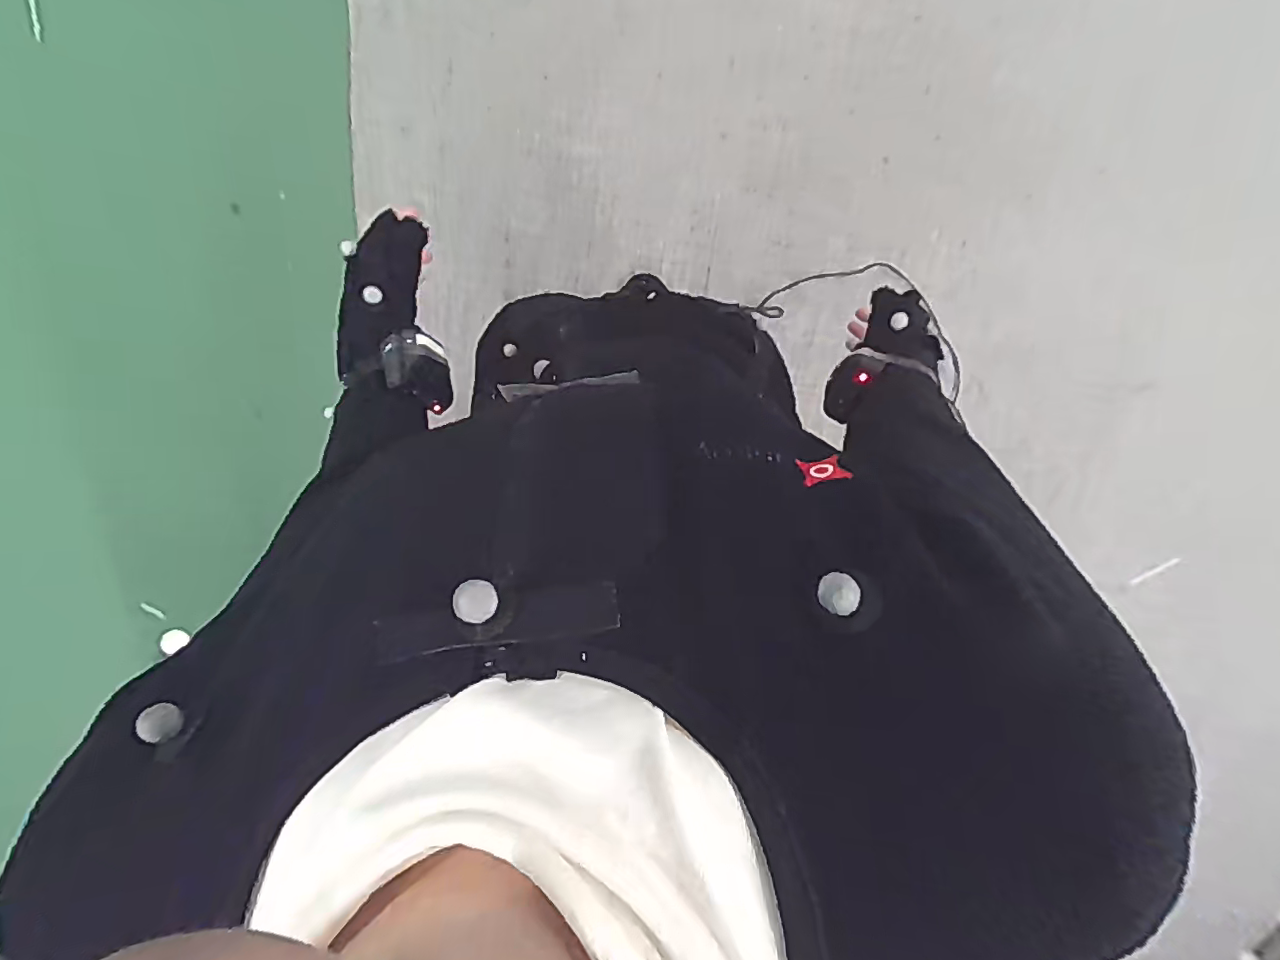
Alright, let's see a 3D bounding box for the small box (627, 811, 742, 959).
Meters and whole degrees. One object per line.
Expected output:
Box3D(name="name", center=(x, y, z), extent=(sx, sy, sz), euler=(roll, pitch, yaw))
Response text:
Box3D(name="small box", center=(0.065, 0.673, 0.882), extent=(0.168, 0.176, 0.179), euler=(3, 114, 1))
